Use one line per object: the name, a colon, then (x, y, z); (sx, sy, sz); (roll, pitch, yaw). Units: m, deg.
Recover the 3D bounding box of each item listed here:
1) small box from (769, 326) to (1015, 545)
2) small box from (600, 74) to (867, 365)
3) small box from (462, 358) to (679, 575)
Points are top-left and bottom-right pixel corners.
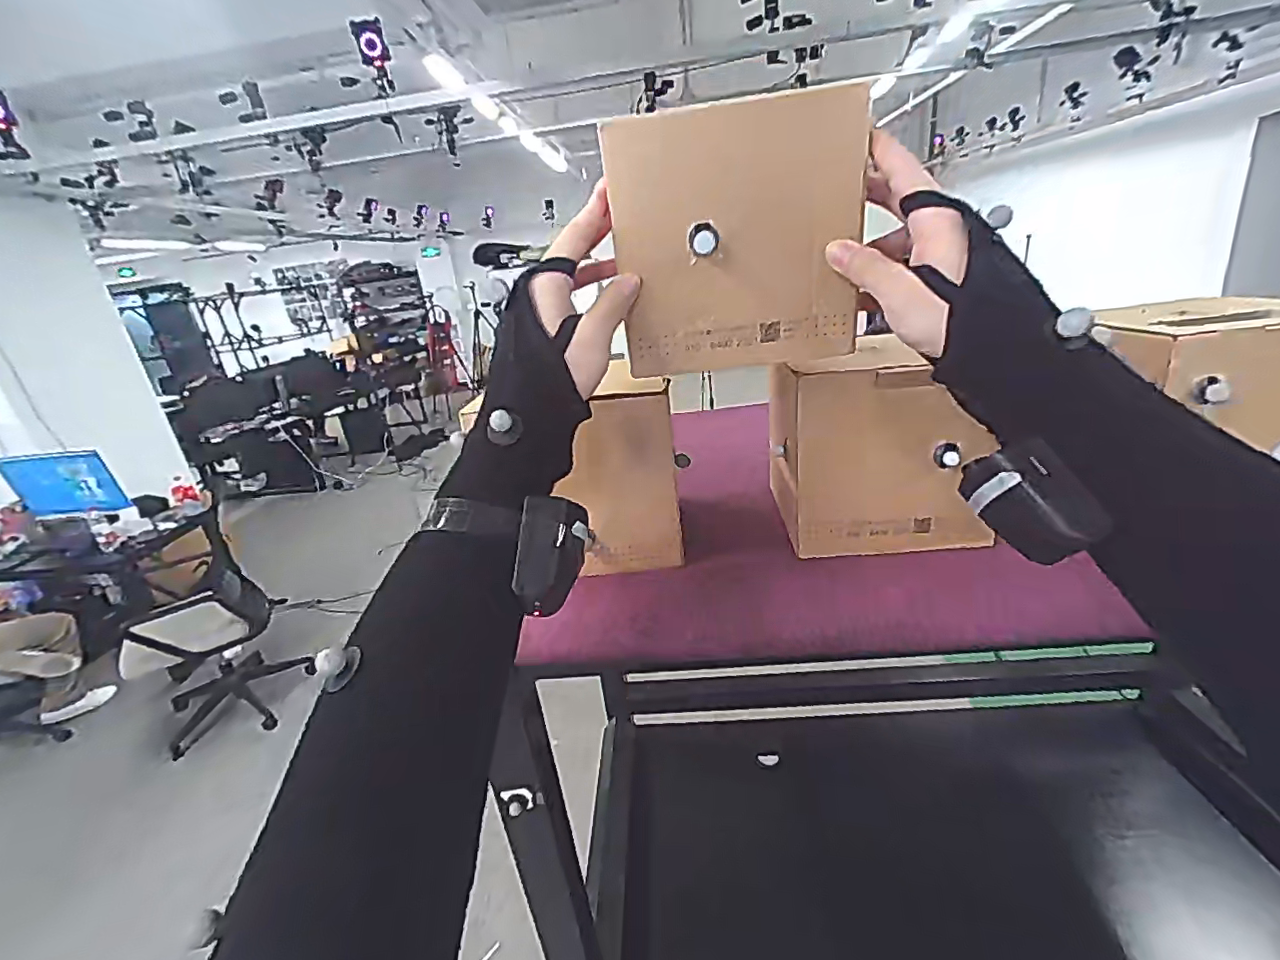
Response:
small box: (0.220, -0.045, 0.519); (0.168, 0.176, 0.179); (-4, 20, 7)
small box: (0.070, -0.197, 0.436); (0.168, 0.176, 0.179); (-6, 28, 6)
small box: (-0.052, -0.020, 0.540); (0.179, 0.176, 0.168); (-5, 21, 3)
